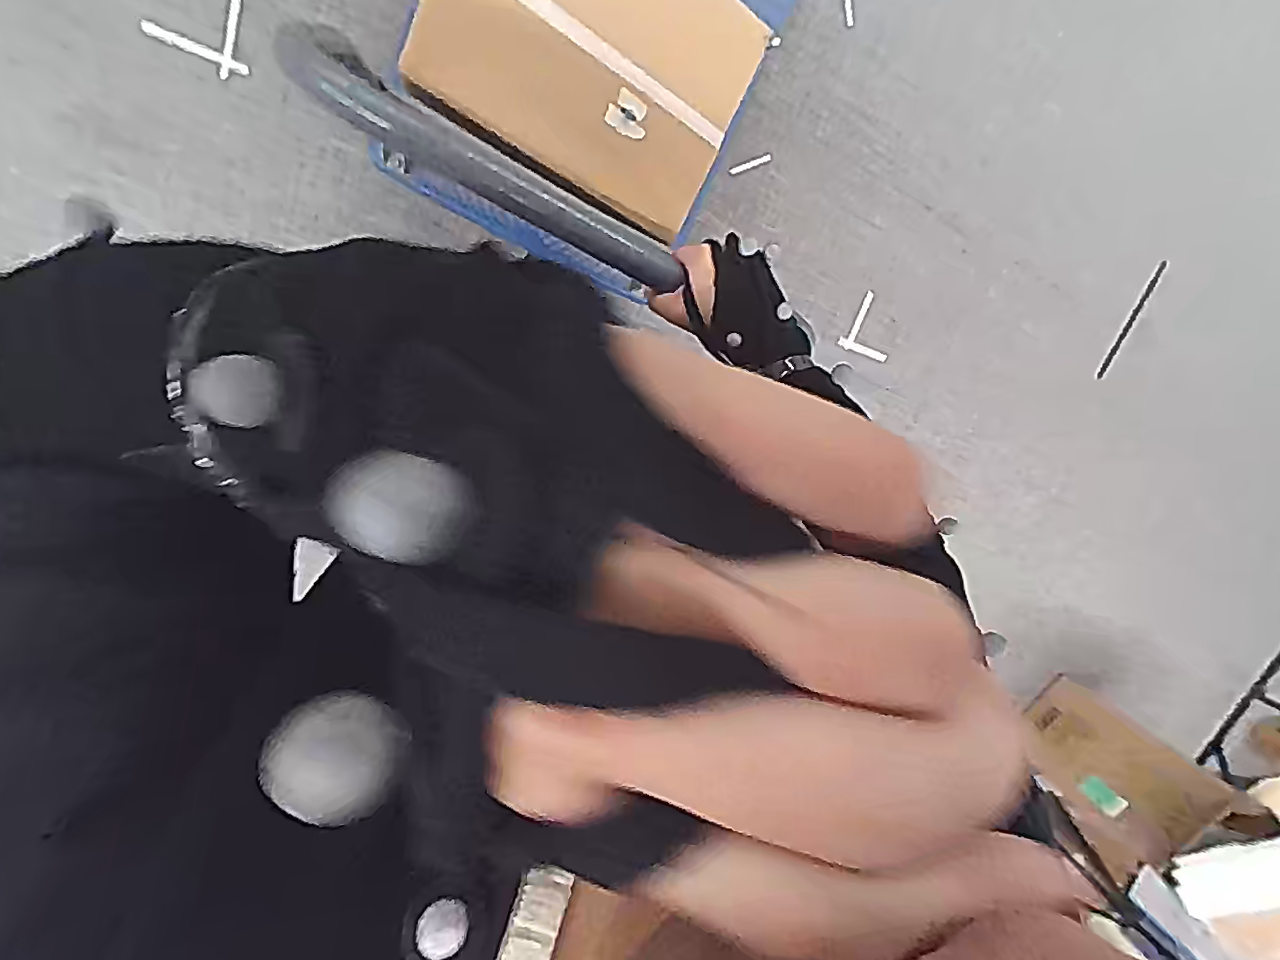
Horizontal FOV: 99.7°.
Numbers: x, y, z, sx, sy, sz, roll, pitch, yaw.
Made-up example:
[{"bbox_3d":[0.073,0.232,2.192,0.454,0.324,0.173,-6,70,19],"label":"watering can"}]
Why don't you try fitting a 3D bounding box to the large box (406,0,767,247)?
[{"bbox_3d":[-0.100,-0.606,0.834,0.408,0.320,0.320,21,103,-25],"label":"large box"}]
